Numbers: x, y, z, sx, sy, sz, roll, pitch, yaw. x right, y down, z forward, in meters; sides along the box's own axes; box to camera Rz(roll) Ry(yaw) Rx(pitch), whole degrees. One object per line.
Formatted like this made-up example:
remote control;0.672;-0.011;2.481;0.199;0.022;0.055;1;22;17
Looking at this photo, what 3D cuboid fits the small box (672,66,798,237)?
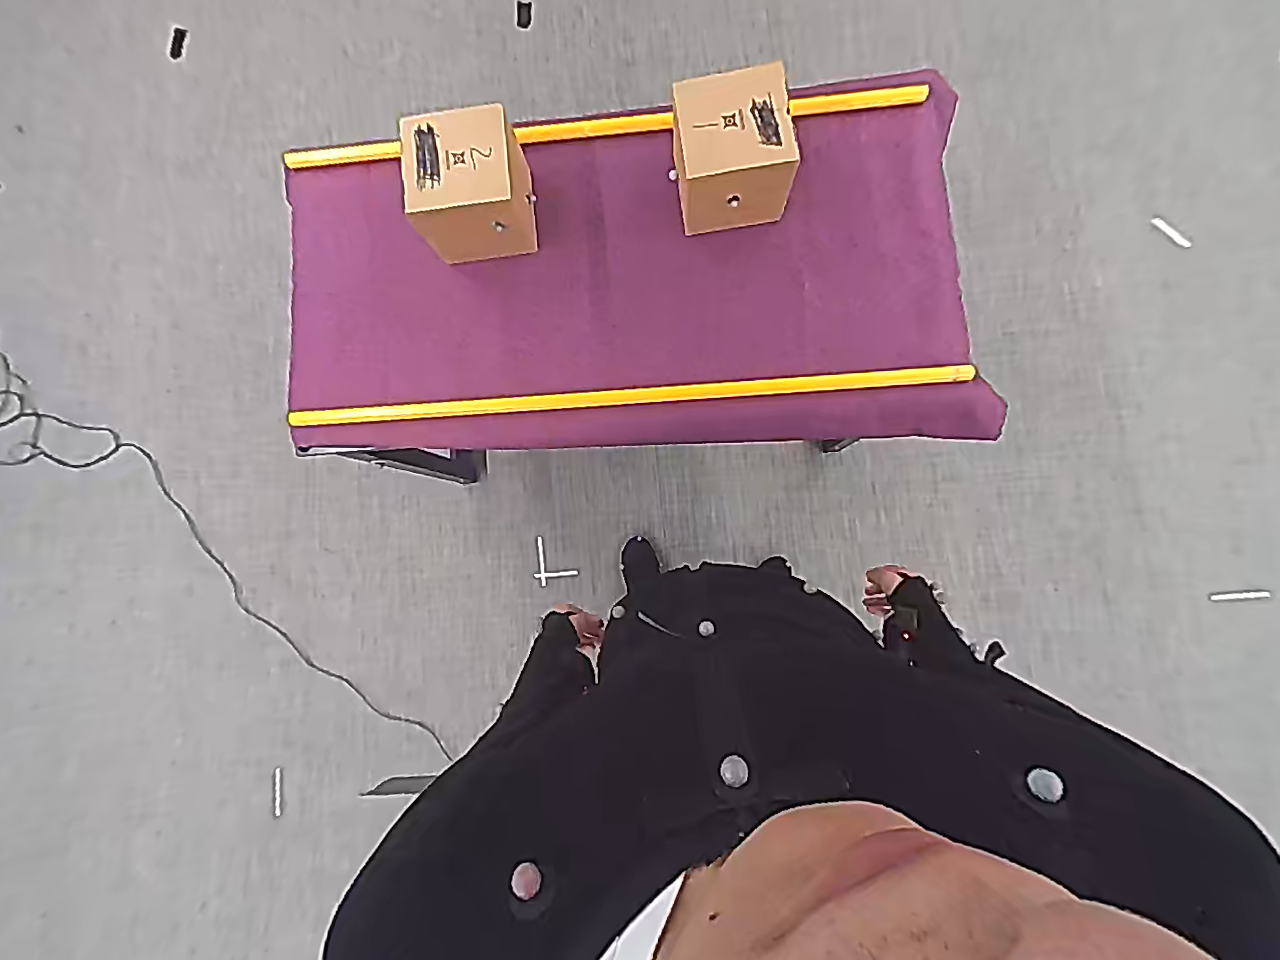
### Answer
small box;0.150;-0.537;0.905;0.179;0.176;0.168;-8;84;5
